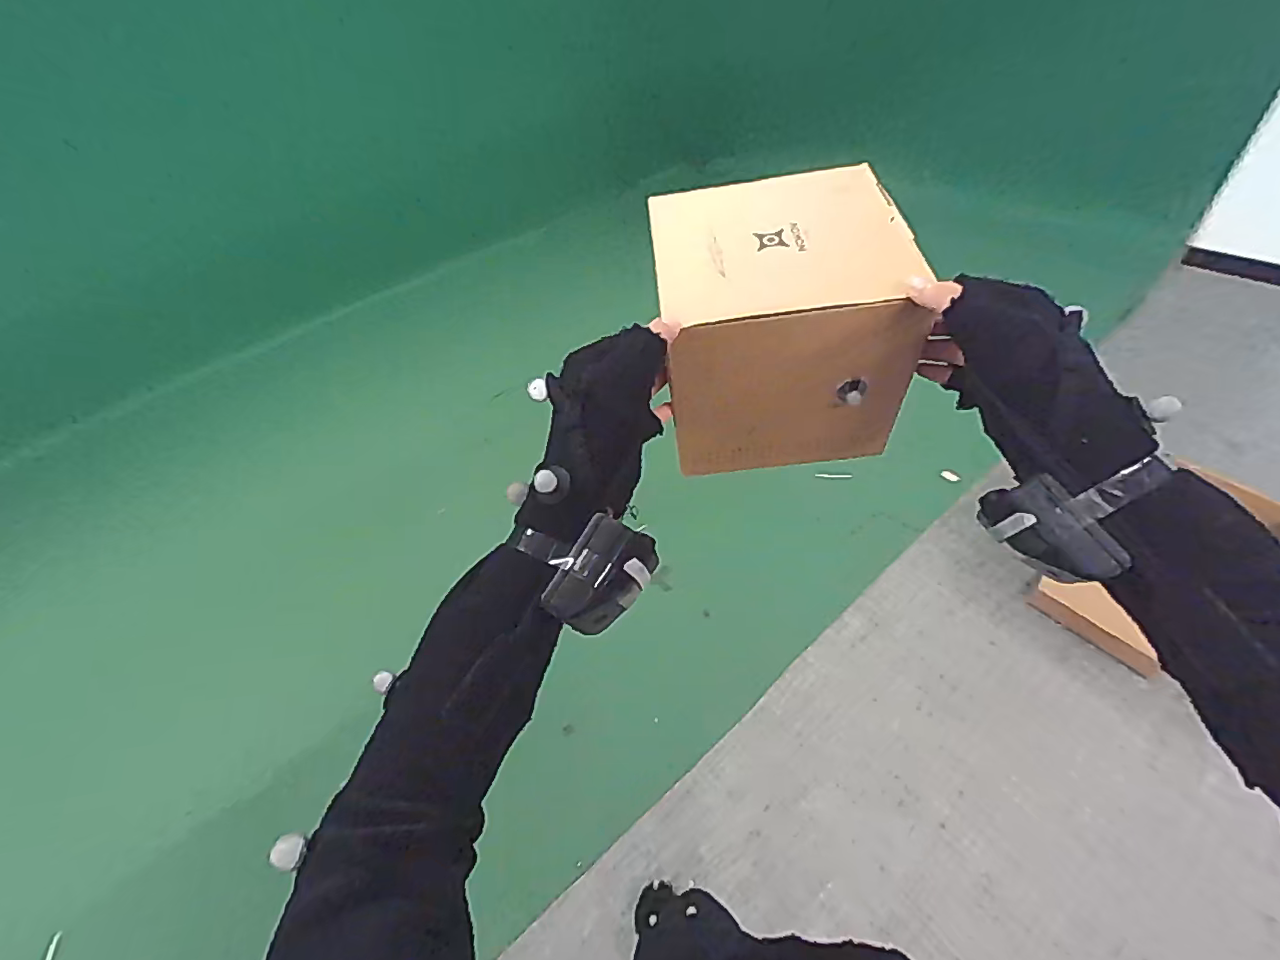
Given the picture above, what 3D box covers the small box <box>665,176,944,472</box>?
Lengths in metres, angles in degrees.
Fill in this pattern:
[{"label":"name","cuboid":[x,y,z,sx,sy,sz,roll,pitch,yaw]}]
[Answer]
[{"label":"small box","cuboid":[0.117,-0.124,0.460,0.179,0.176,0.168,-6,53,5]}]
